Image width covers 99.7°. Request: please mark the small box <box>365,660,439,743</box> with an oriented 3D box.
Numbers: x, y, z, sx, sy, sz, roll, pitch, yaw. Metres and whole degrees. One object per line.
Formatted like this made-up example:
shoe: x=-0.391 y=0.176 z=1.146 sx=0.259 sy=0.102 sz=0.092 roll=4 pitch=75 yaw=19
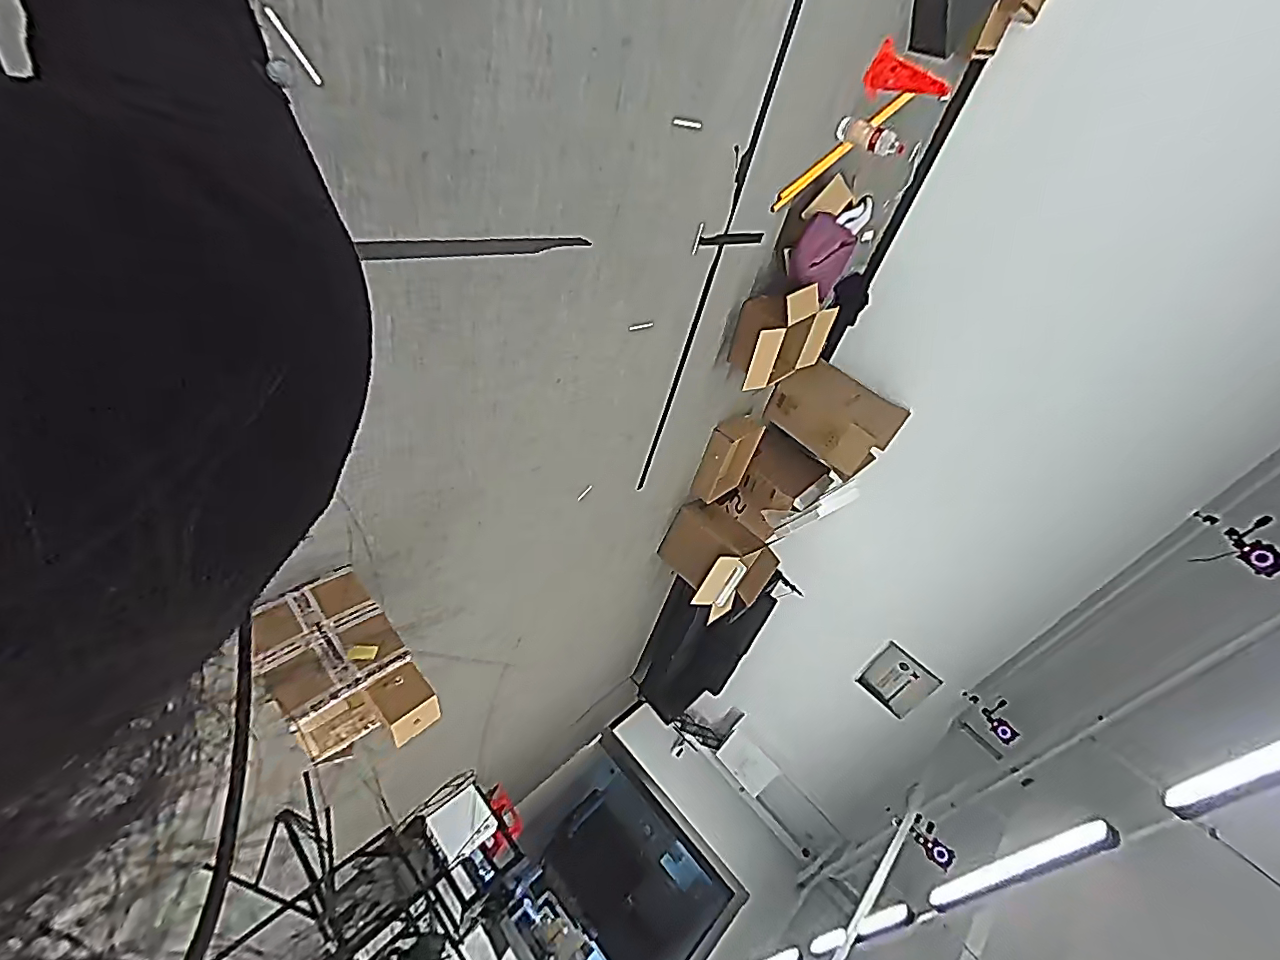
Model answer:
small box: x=-0.824 y=0.761 z=1.873 sx=0.168 sy=0.176 sz=0.179 roll=-31 pitch=145 yaw=-37
